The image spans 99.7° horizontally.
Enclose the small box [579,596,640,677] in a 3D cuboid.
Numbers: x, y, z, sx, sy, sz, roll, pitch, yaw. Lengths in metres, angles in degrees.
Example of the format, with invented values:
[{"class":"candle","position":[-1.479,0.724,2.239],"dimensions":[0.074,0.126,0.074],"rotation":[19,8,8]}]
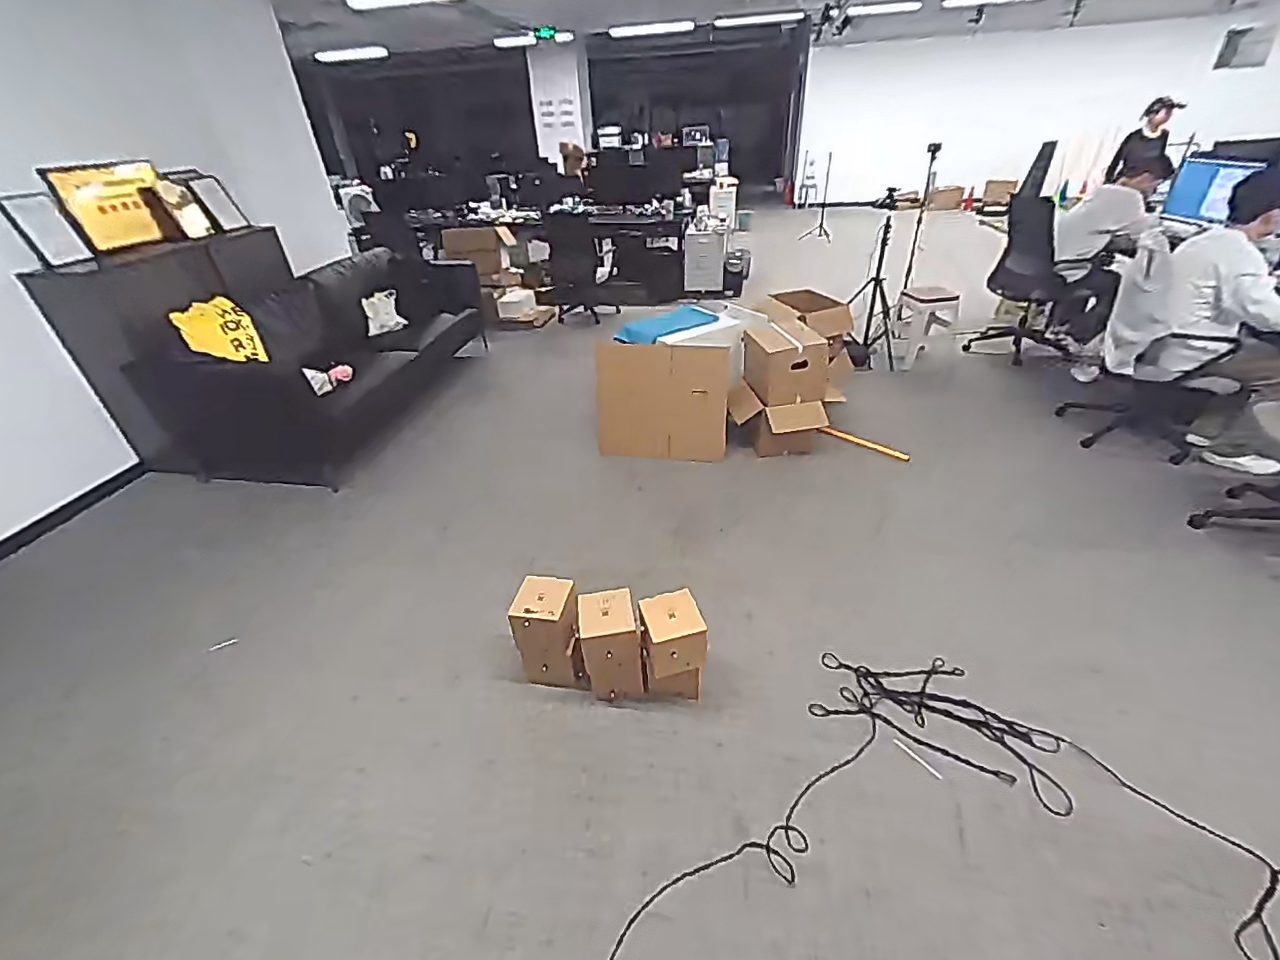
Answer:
[{"class":"small box","position":[-0.094,0.485,1.660],"dimensions":[0.168,0.176,0.179],"rotation":[-7,32,-4]}]

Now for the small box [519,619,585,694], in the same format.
[{"class":"small box","position":[-0.281,0.594,1.813],"dimensions":[0.179,0.176,0.168],"rotation":[2,32,11]}]

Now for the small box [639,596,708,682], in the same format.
[{"class":"small box","position":[0.103,0.486,1.634],"dimensions":[0.168,0.176,0.179],"rotation":[-12,32,-11]}]
